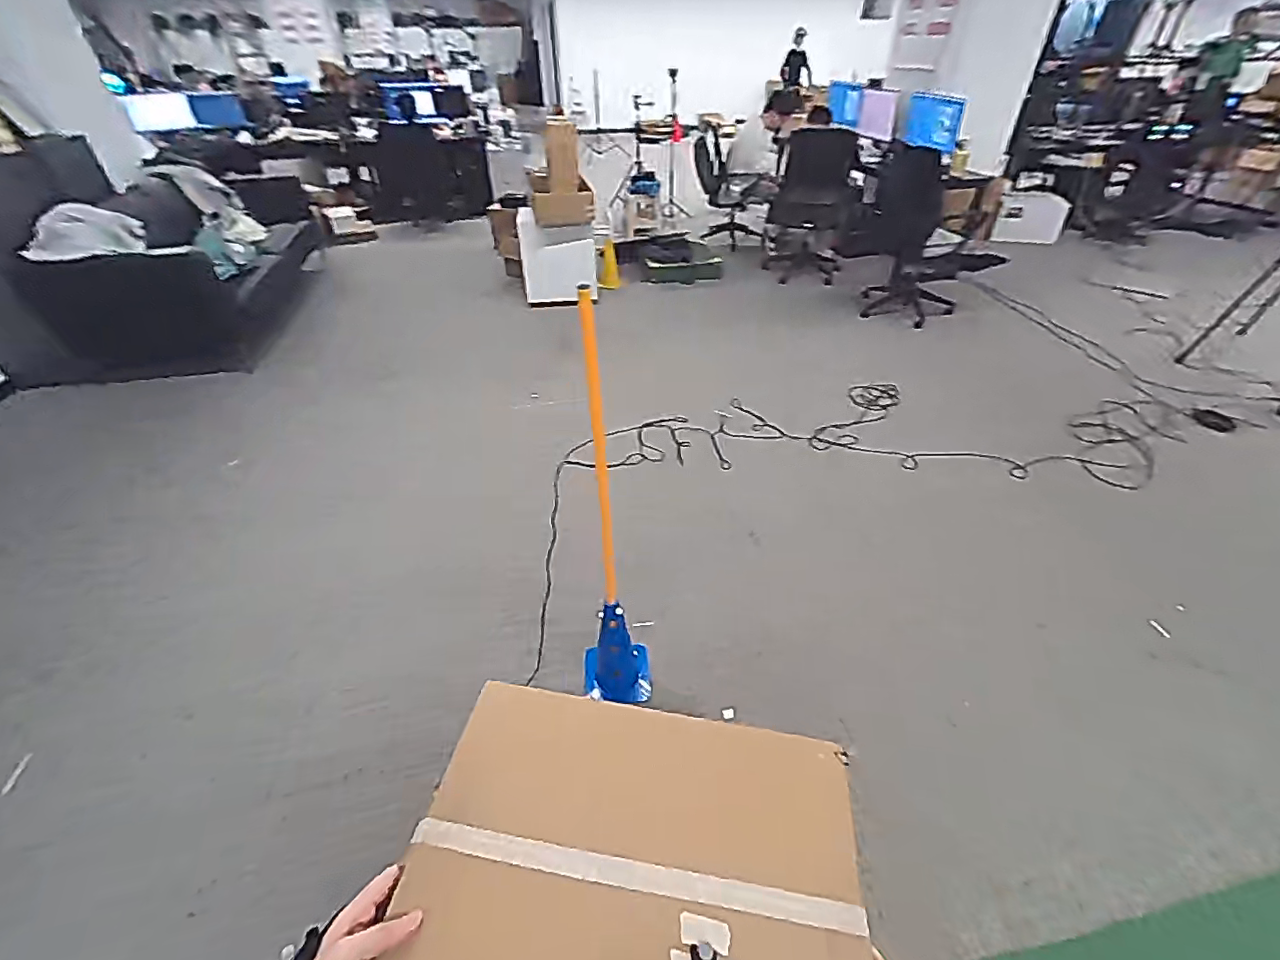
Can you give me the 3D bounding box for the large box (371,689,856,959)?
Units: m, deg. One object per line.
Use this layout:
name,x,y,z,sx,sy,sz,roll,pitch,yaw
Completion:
large box,-0.019,0.474,0.585,0.408,0.320,0.320,8,39,5

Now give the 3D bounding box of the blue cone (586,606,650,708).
blue cone,-0.072,0.490,1.577,0.193,0.380,0.192,-2,39,-2
